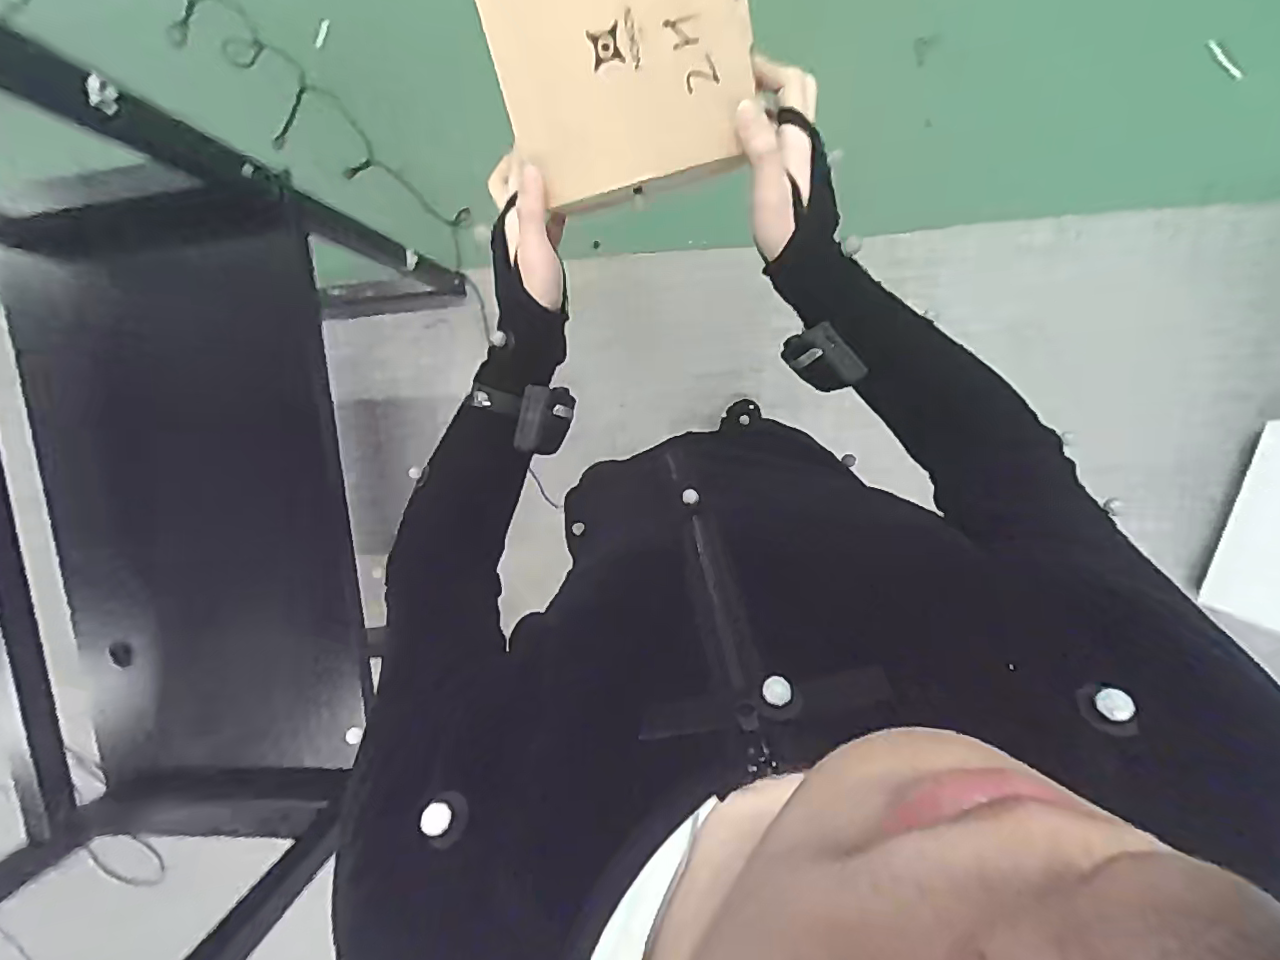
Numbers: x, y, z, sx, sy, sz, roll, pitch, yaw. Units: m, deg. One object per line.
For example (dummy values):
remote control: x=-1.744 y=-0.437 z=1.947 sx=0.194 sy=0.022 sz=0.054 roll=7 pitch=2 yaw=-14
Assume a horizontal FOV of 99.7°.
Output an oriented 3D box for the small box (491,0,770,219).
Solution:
small box: x=0.001 y=-0.325 z=0.446 sx=0.179 sy=0.176 sz=0.168 roll=-10 pitch=112 yaw=9
